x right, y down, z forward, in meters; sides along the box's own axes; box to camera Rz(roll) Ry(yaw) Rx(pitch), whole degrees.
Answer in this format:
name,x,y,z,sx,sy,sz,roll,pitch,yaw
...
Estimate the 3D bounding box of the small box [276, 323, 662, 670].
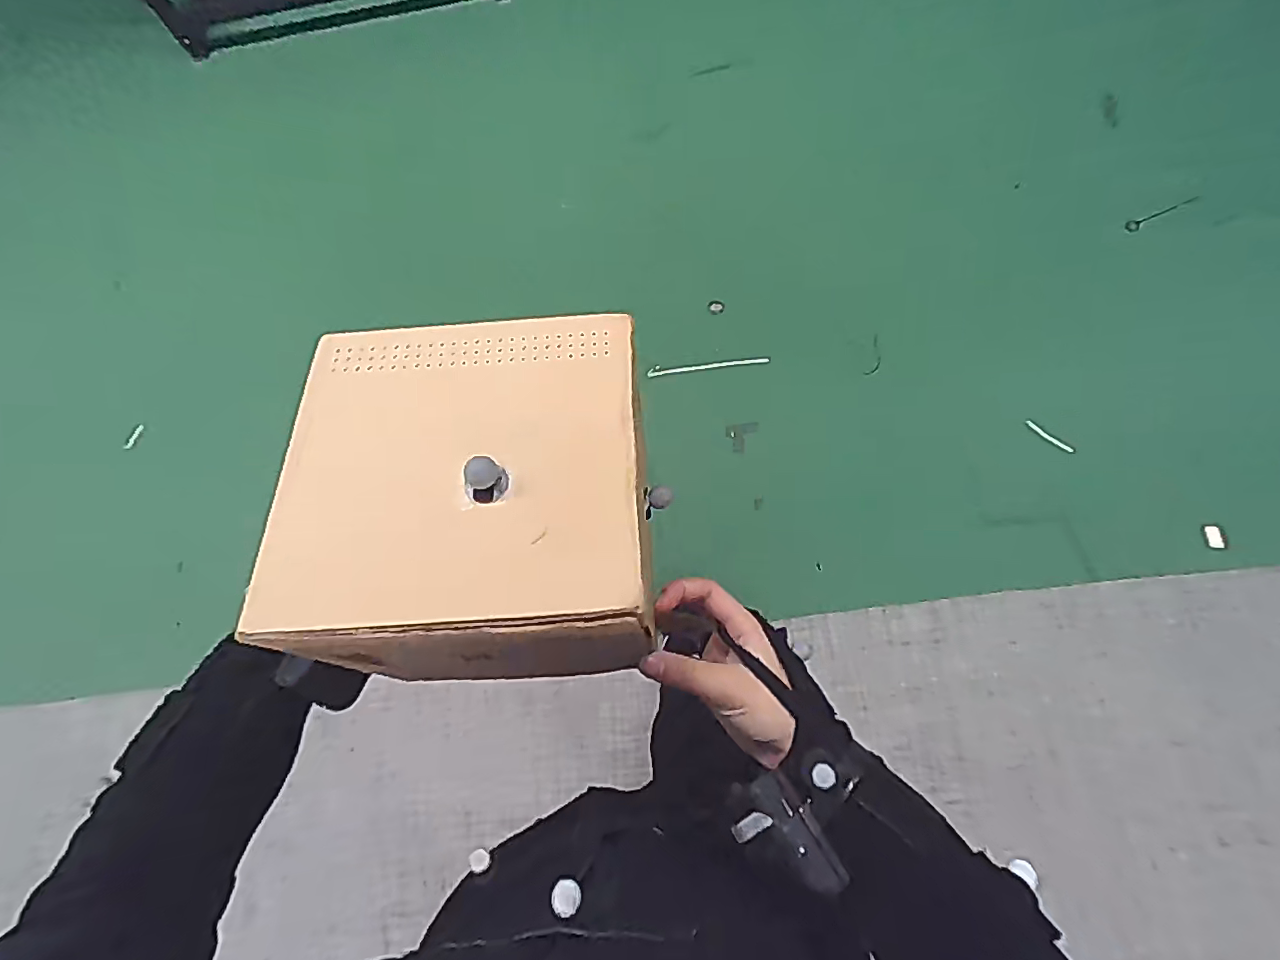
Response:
name,x,y,z,sx,sy,sz,roll,pitch,yaw
small box,-0.081,0.018,0.346,0.179,0.168,0.176,-4,62,1
